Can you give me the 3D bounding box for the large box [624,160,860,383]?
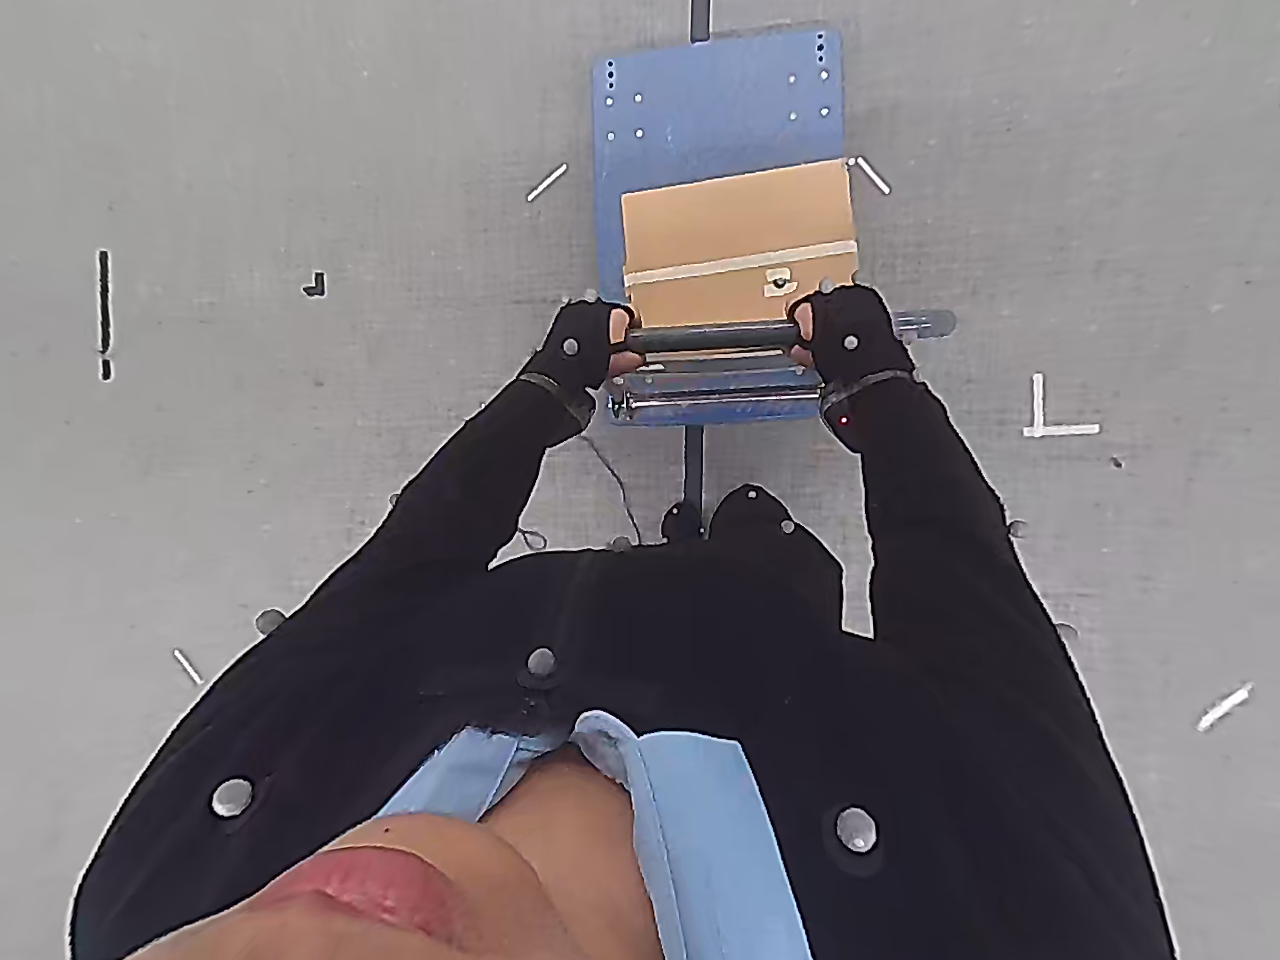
[{"bbox_3d":[0.198,-0.401,1.135,0.408,0.320,0.320,-6,92,7],"label":"large box"}]
